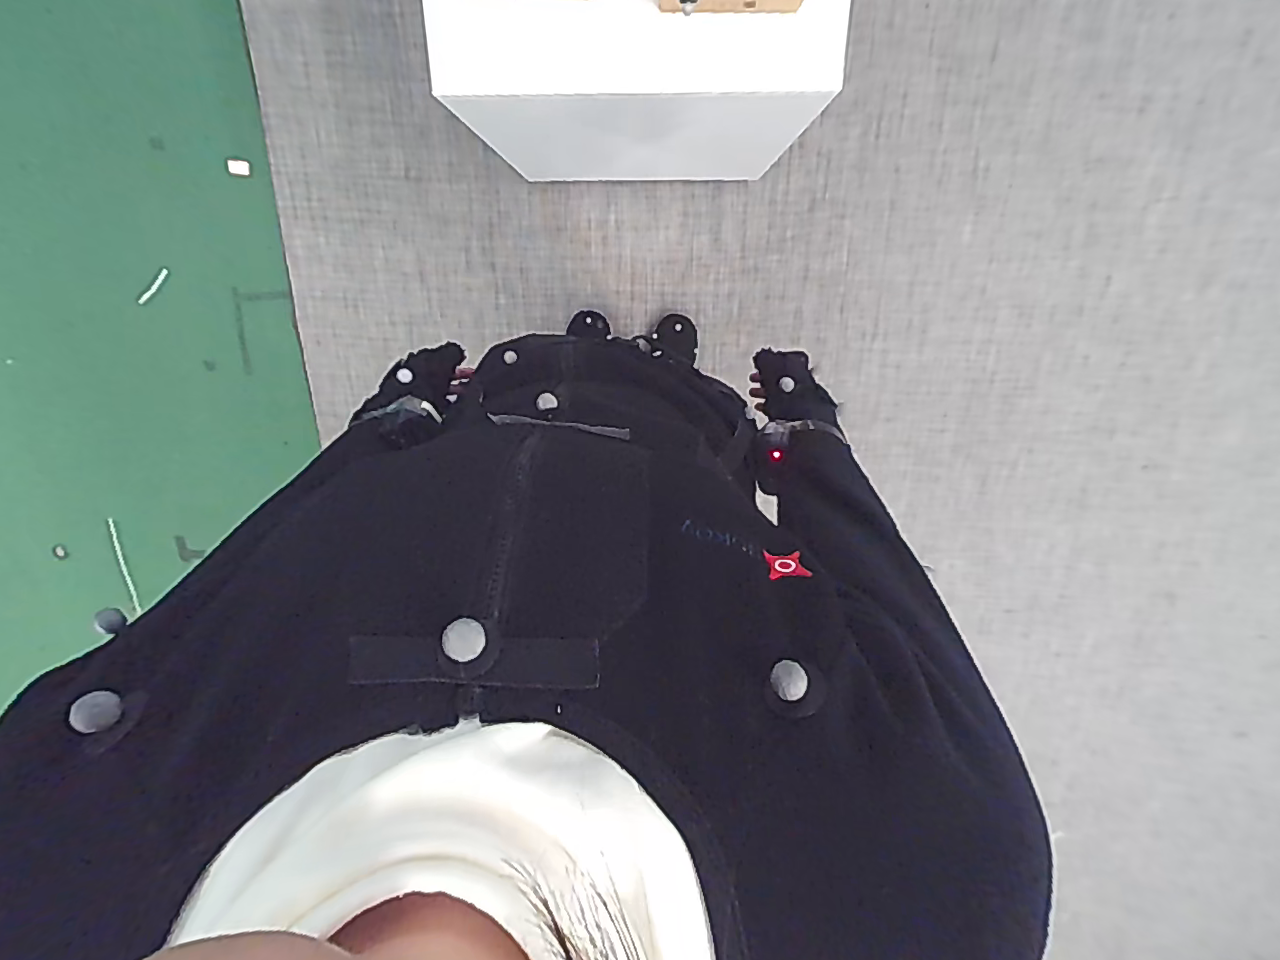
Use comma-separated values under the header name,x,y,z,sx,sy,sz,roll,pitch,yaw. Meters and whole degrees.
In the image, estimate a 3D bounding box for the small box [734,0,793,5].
name,x,y,z,sx,sy,sz,roll,pitch,yaw
small box,0.103,-0.615,0.536,0.168,0.176,0.179,2,108,1
